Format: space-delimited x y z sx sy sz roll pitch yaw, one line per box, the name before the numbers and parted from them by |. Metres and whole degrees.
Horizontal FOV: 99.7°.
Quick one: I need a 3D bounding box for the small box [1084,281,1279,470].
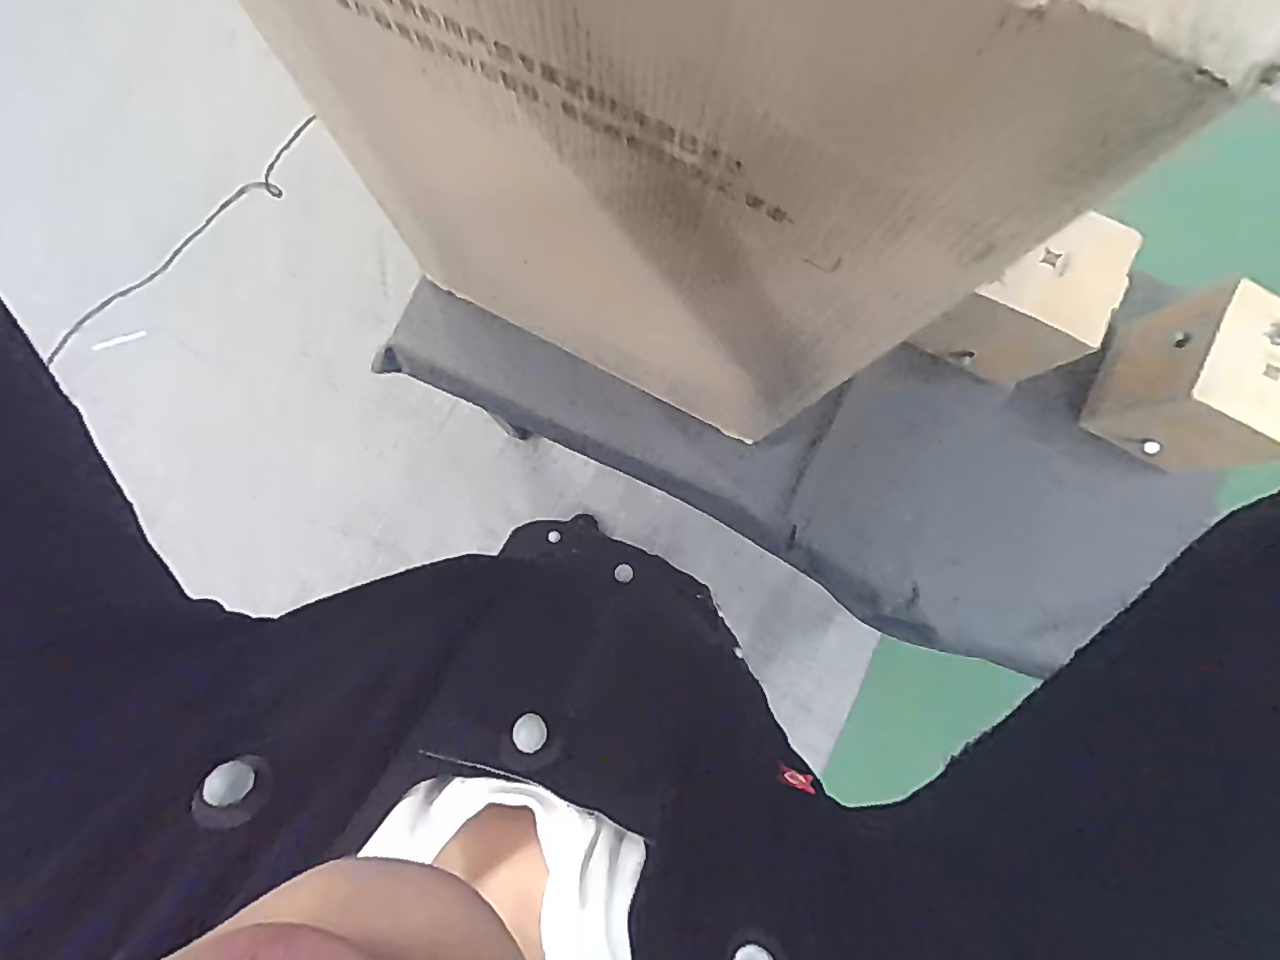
small box | 0.777 -0.131 0.749 0.168 0.176 0.179 28 84 1
